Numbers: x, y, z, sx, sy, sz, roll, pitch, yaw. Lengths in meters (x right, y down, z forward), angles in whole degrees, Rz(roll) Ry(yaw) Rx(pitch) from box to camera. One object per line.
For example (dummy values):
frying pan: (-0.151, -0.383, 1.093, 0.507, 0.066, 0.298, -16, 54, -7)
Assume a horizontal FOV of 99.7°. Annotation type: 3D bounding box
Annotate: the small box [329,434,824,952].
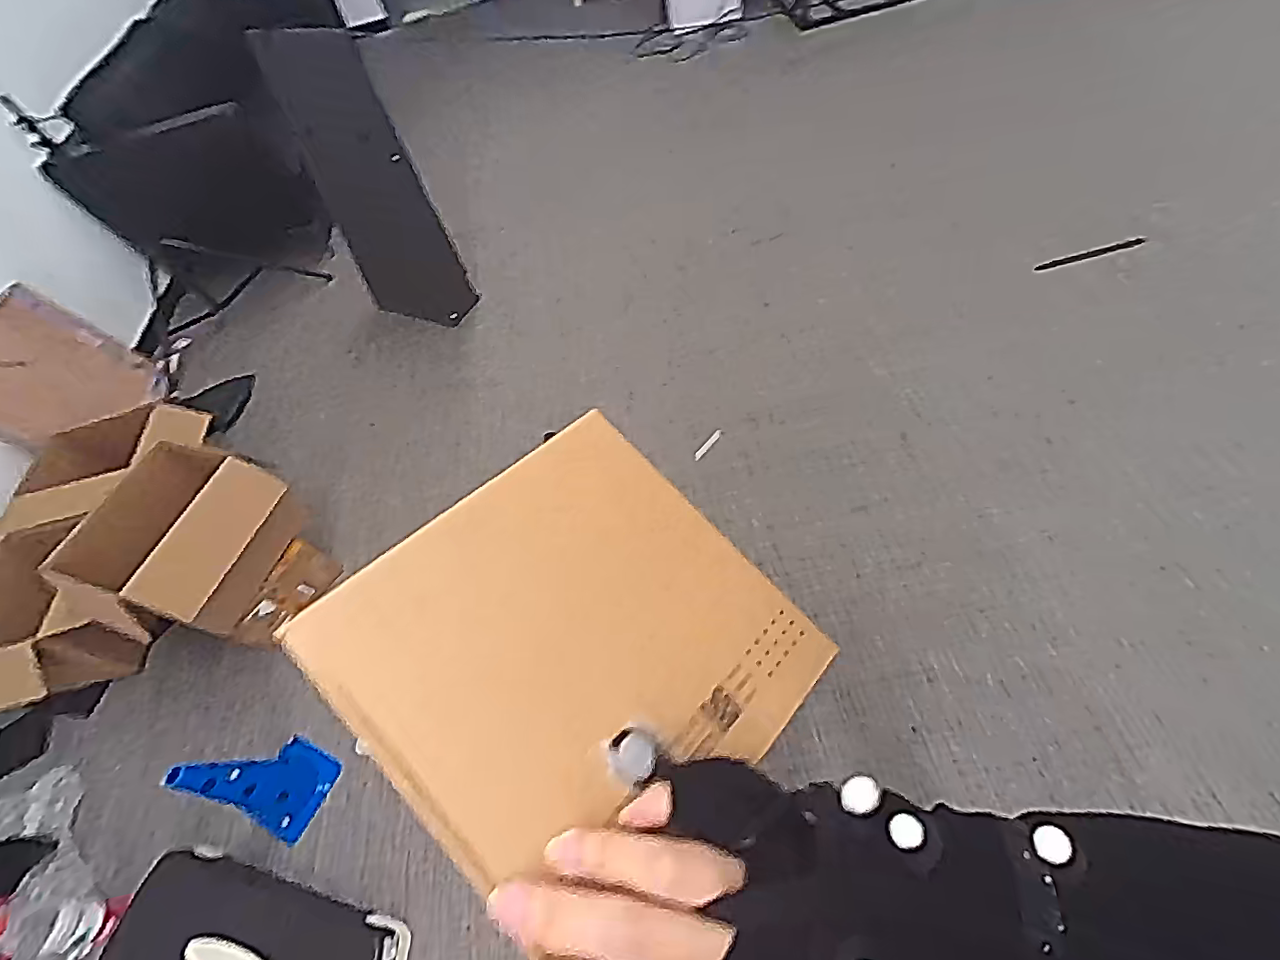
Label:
small box: (-0.034, 0.114, 0.313, 0.176, 0.179, 0.168, 44, 60, 11)
